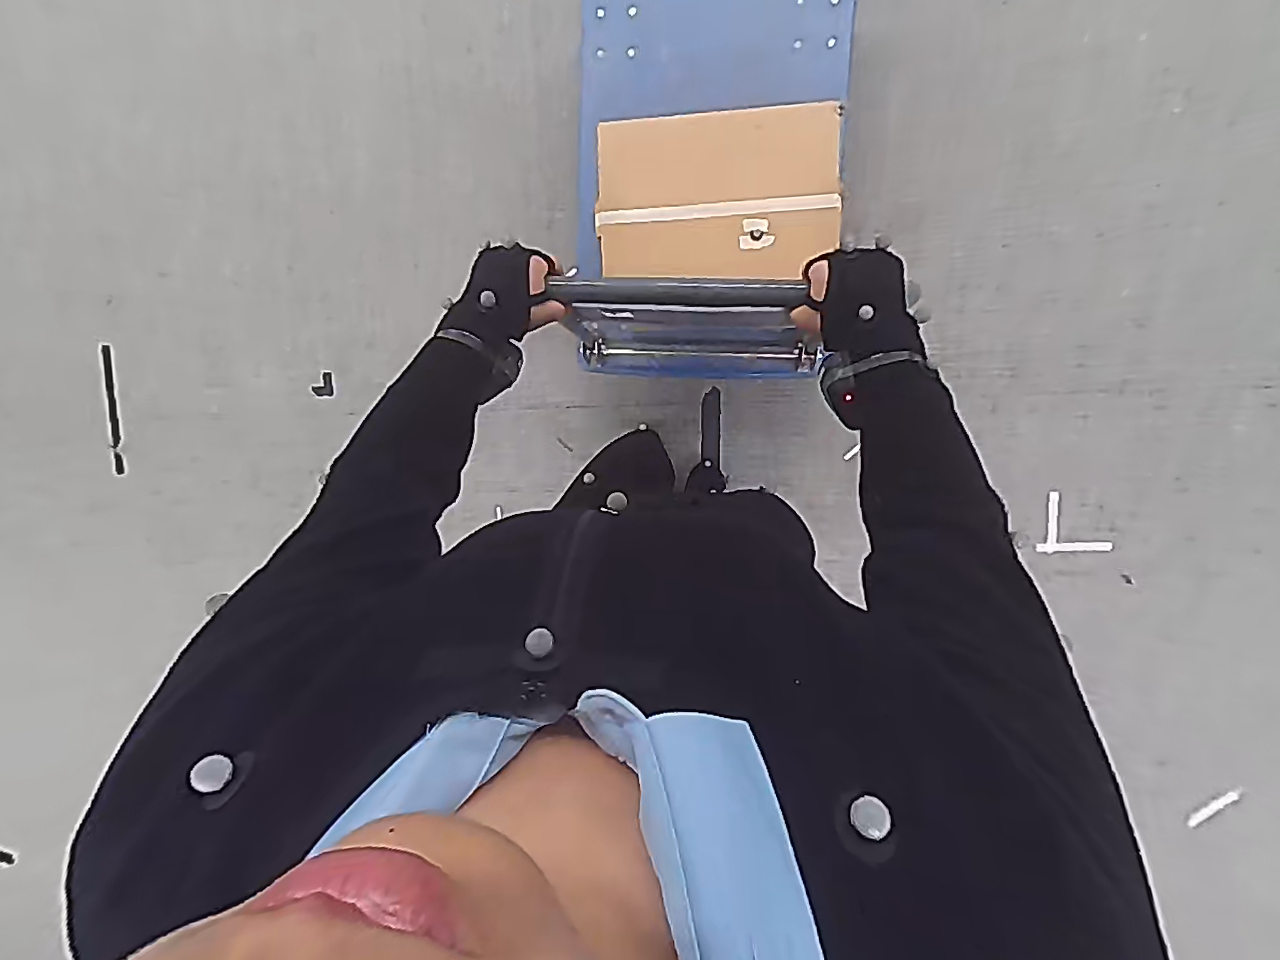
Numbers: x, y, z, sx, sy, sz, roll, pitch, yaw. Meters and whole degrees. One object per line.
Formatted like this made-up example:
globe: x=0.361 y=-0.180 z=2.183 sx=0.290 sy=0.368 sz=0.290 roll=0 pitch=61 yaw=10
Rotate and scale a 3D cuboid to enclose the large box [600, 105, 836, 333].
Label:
large box: x=0.148 y=-0.484 z=1.082 sx=0.408 sy=0.320 sz=0.320 roll=-1 pitch=98 yaw=6
